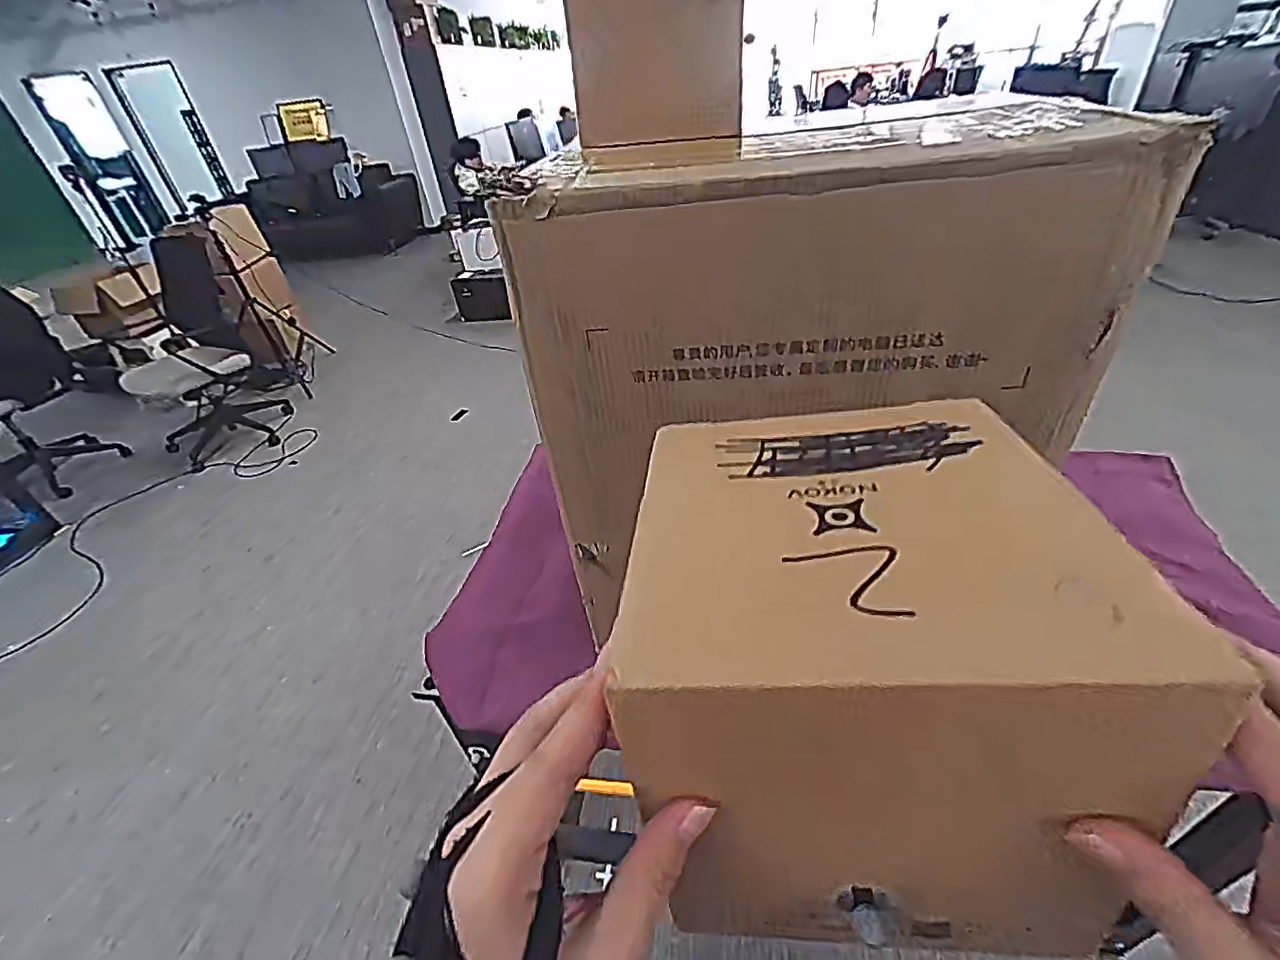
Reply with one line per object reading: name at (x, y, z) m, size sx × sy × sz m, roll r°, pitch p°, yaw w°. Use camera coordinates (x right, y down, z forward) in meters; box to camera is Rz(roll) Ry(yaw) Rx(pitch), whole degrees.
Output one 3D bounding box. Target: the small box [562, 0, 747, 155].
small box at (0.023, -0.465, 0.587) m, size 0.179 × 0.176 × 0.168 m, roll 0°, pitch 37°, yaw 7°
